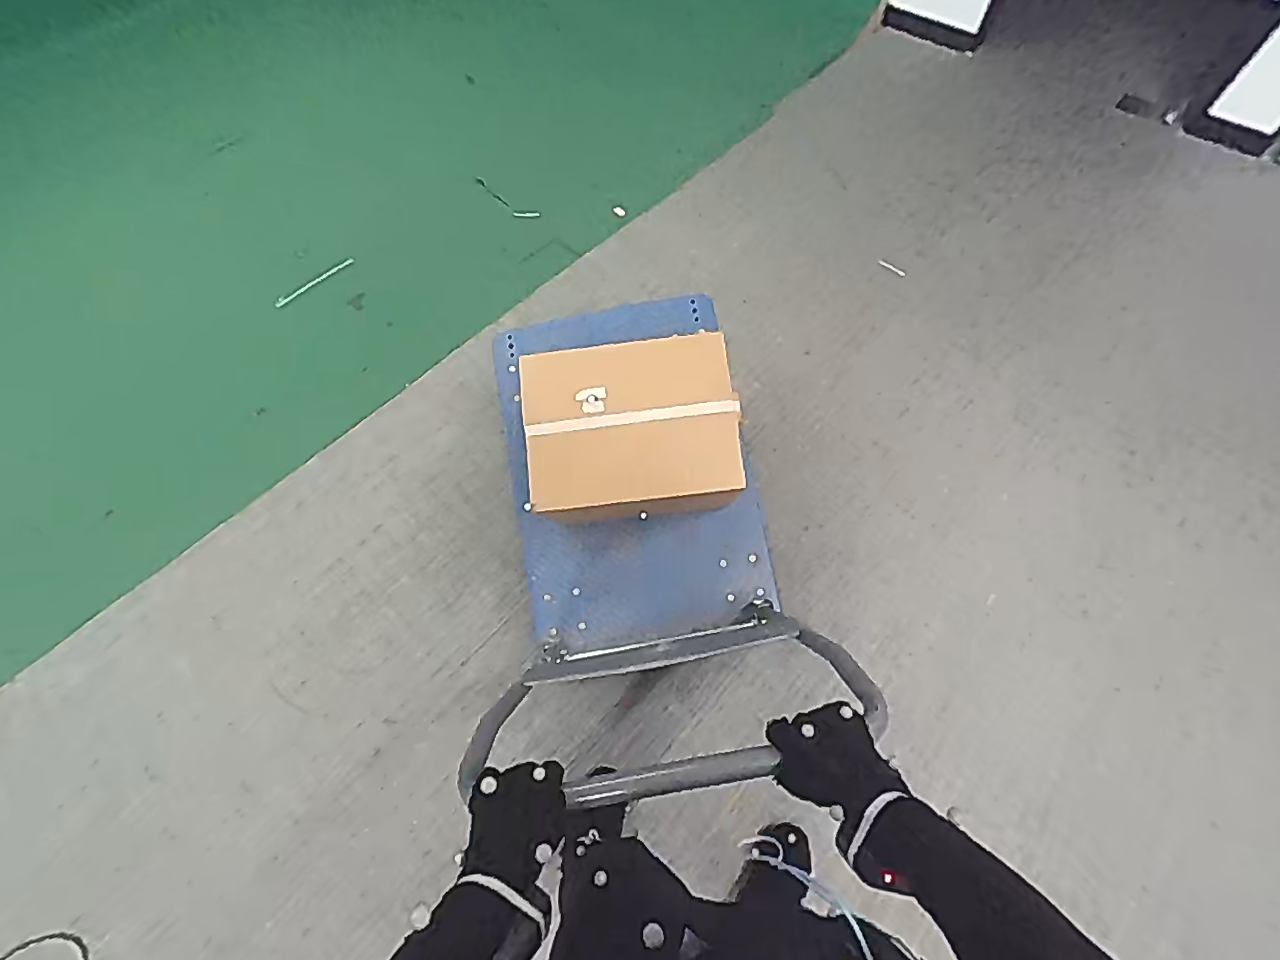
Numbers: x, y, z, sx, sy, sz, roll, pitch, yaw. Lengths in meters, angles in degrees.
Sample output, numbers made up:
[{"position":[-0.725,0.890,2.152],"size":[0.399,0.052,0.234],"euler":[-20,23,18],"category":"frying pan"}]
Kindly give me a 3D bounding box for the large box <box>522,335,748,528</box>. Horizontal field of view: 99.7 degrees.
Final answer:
[{"position":[-0.005,-0.081,1.173],"size":[0.408,0.320,0.320],"euler":[-8,80,3],"category":"large box"}]
